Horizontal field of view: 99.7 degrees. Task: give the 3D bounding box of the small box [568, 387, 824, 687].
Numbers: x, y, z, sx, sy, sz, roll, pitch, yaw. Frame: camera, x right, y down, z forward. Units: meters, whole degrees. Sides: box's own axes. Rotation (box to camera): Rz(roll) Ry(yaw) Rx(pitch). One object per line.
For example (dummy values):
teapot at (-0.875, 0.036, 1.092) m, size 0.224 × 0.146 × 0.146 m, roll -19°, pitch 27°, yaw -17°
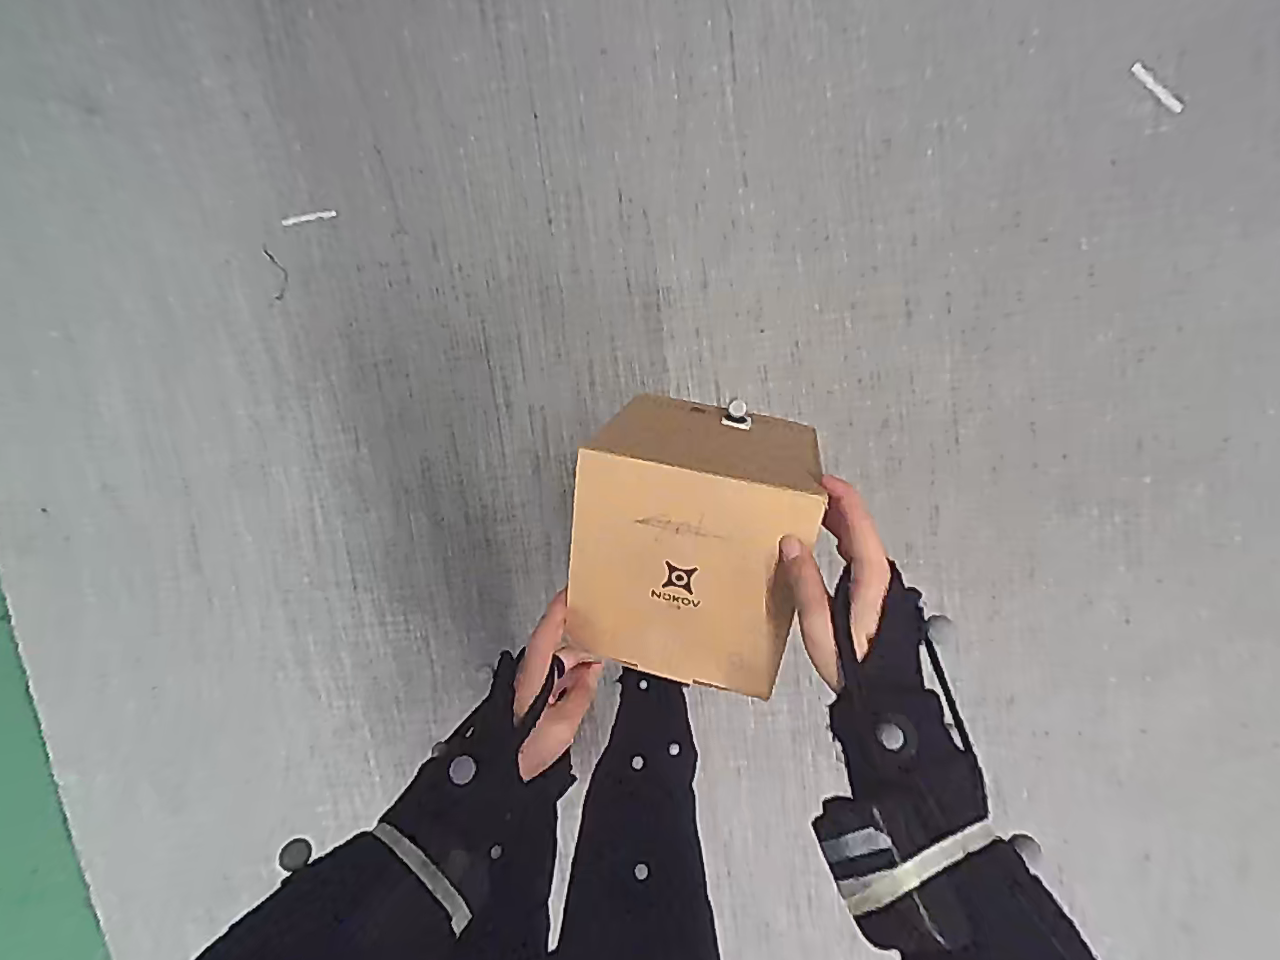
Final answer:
small box at (0.048, 0.034, 0.458) m, size 0.168 × 0.176 × 0.179 m, roll 11°, pitch 113°, yaw 9°
